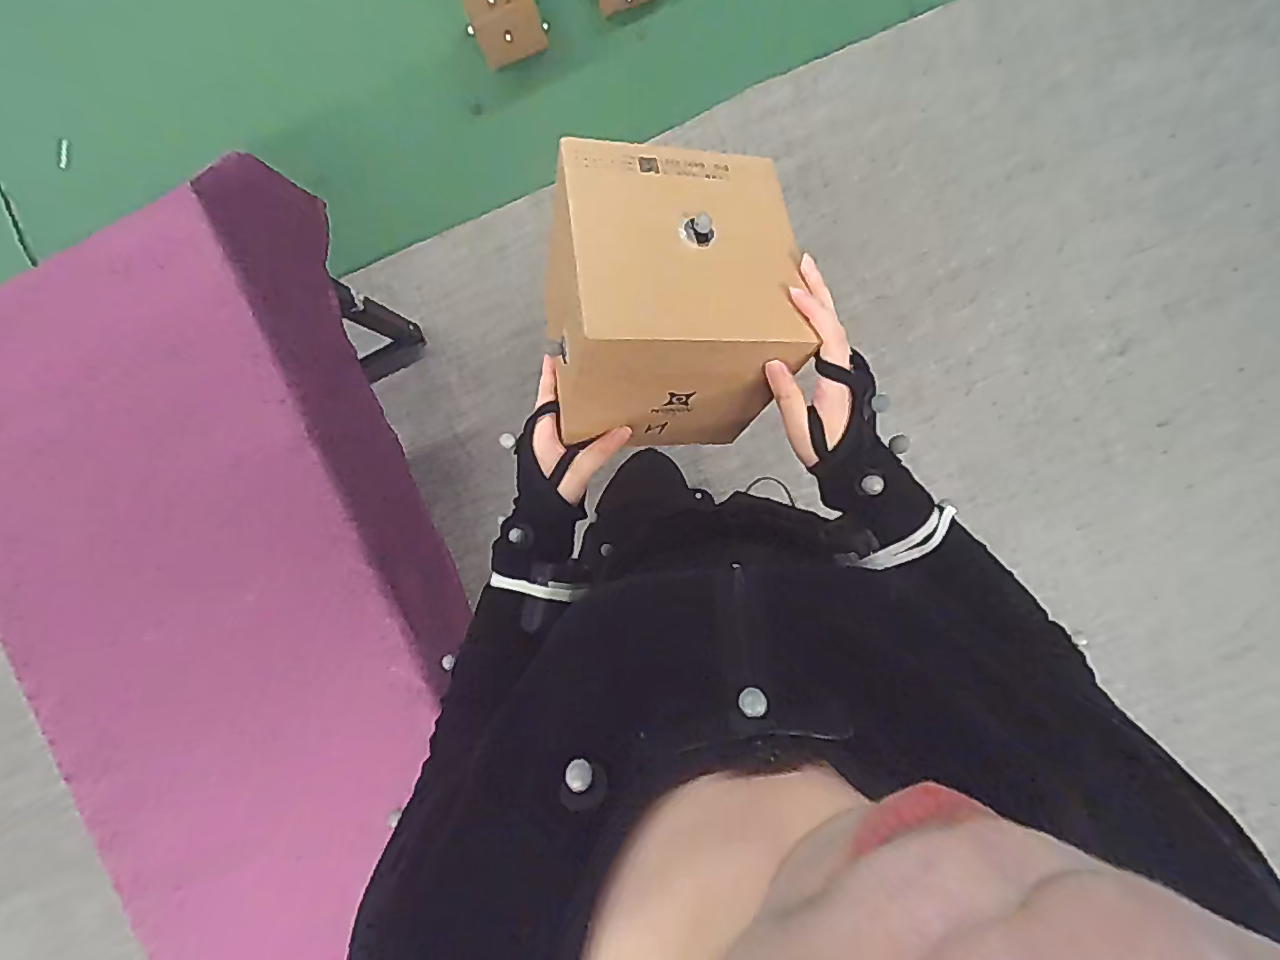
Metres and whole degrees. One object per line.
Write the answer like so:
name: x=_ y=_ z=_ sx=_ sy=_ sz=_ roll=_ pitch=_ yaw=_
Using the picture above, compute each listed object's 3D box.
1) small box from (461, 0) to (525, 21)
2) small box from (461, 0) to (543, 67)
small box: x=-0.378 y=-1.242 z=1.259 sx=0.168 sy=0.176 sz=0.179 roll=-20 pitch=90 yaw=5
small box: x=-0.367 y=-1.248 z=1.421 sx=0.179 sy=0.176 sz=0.168 roll=-21 pitch=89 yaw=6
